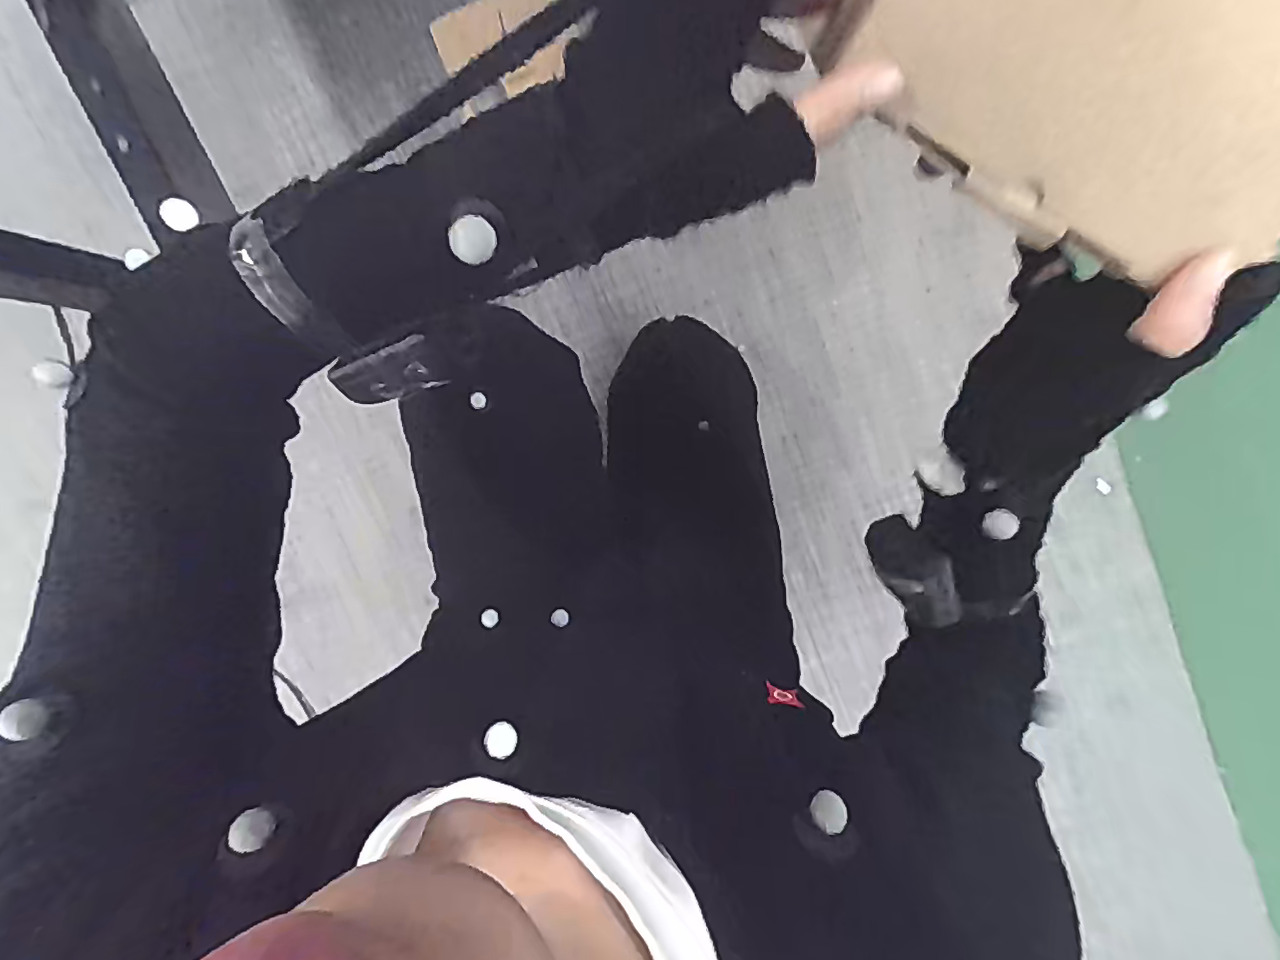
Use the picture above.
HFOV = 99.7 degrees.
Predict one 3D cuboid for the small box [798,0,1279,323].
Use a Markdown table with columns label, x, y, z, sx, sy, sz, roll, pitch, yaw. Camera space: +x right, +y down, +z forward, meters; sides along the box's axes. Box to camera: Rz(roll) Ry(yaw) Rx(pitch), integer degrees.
| label | x | y | z | sx | sy | sz | roll | pitch | yaw |
| --- | --- | --- | --- | --- | --- | --- | --- | --- | --- |
| small box | 0.178 | -0.202 | 0.206 | 0.168 | 0.176 | 0.179 | 24 | 133 | -12 |
